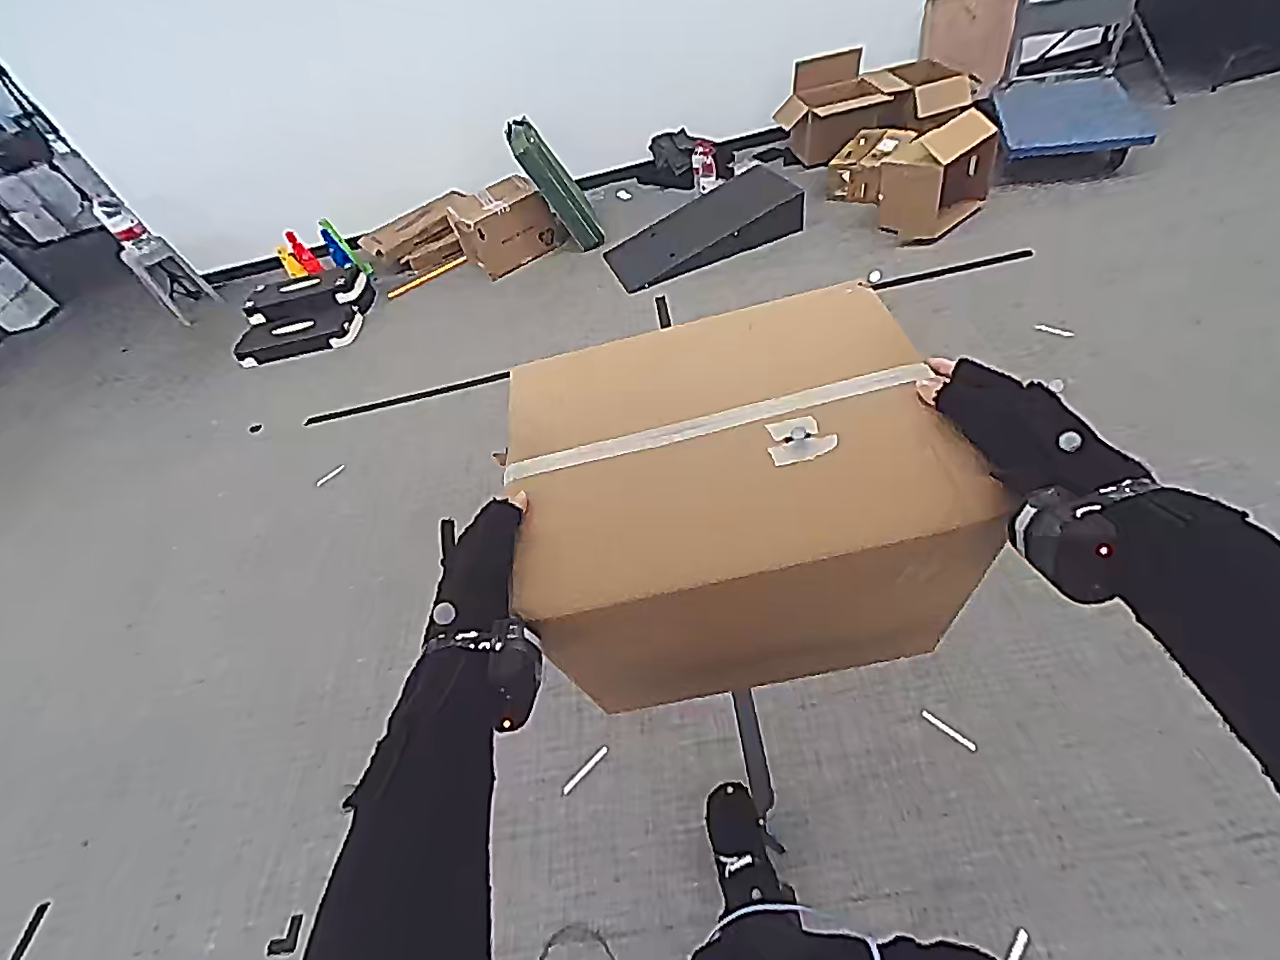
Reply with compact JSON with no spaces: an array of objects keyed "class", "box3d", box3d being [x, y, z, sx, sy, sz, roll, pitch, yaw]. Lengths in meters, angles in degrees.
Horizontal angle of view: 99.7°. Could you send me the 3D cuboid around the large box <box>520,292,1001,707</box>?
[{"class":"large box","box3d":[0.101,0.038,0.645,0.408,0.320,0.320,-13,53,4]}]
